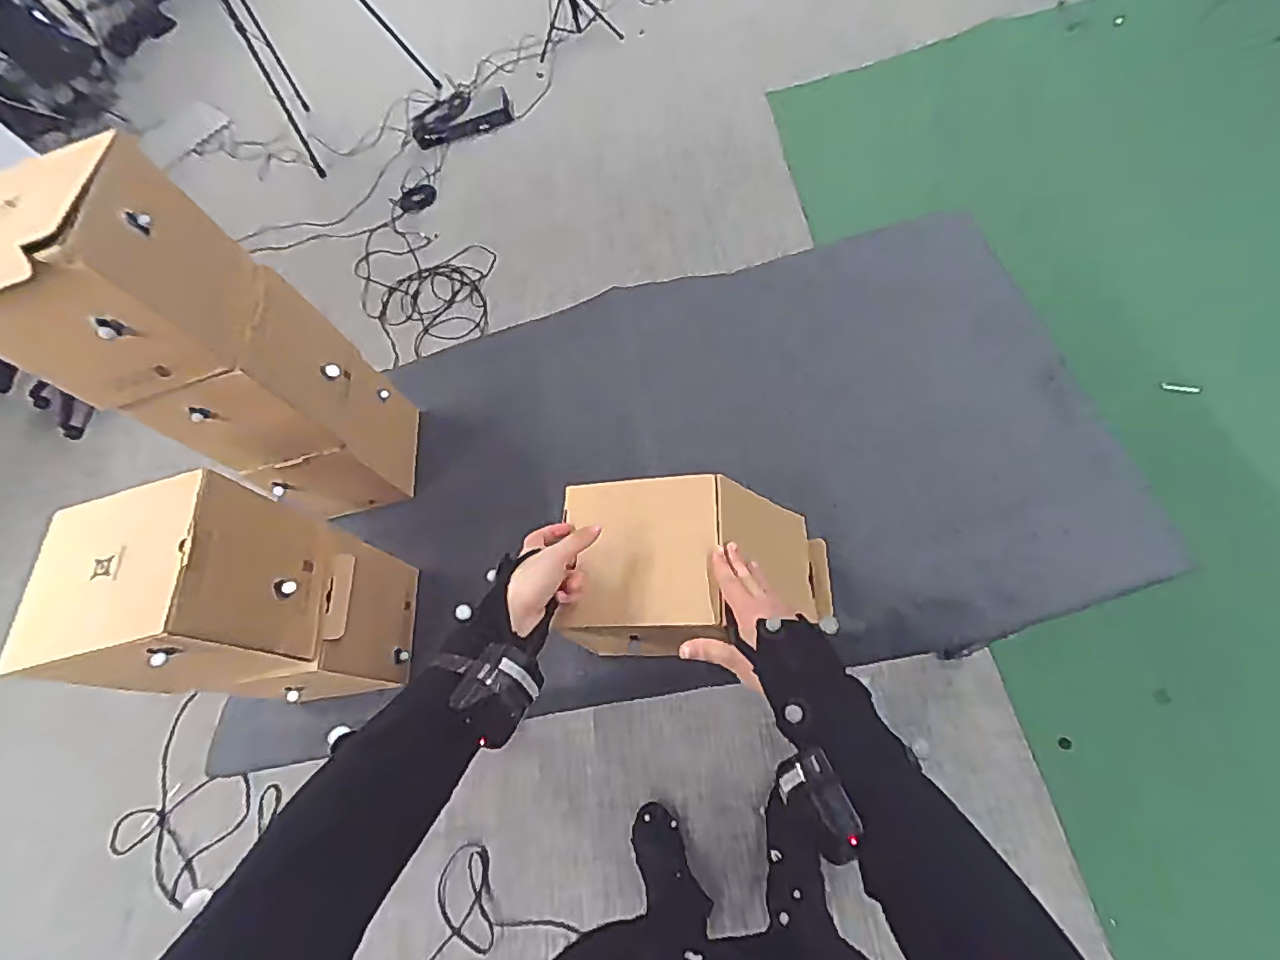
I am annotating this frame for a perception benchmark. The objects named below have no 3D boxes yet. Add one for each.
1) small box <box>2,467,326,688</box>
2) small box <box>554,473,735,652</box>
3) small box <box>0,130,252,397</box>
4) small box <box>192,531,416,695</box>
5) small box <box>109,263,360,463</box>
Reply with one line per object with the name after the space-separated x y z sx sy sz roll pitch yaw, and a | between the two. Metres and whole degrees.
-0.472 0.113 0.570 0.179 0.176 0.168 -15 62 6 | small box
0.016 0.106 0.636 0.179 0.176 0.168 -4 63 11 | small box
-0.544 -0.206 0.556 0.168 0.176 0.179 -15 61 5 | small box
-0.420 0.182 0.709 0.179 0.176 0.168 -12 63 9 | small box
-0.501 -0.139 0.697 0.179 0.176 0.168 -12 63 8 | small box
